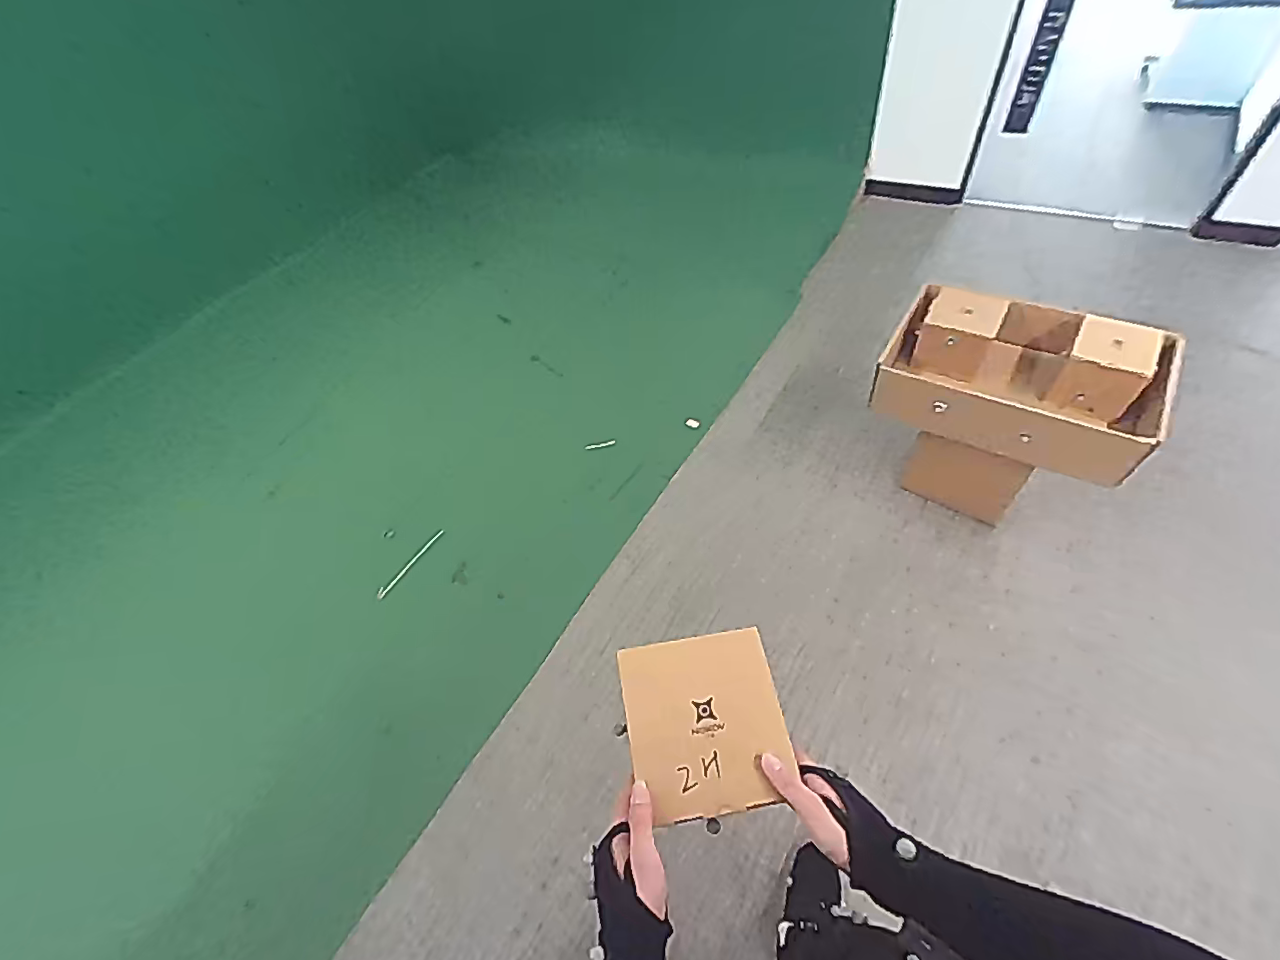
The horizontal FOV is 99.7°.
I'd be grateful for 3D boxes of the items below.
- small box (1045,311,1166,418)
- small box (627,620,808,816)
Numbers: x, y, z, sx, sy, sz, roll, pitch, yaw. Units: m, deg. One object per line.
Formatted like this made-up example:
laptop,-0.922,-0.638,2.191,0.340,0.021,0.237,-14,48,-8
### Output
small box,1.171,-0.291,1.372,0.168,0.176,0.179,26,64,26
small box,0.074,0.285,0.639,0.168,0.176,0.179,-7,59,-4
